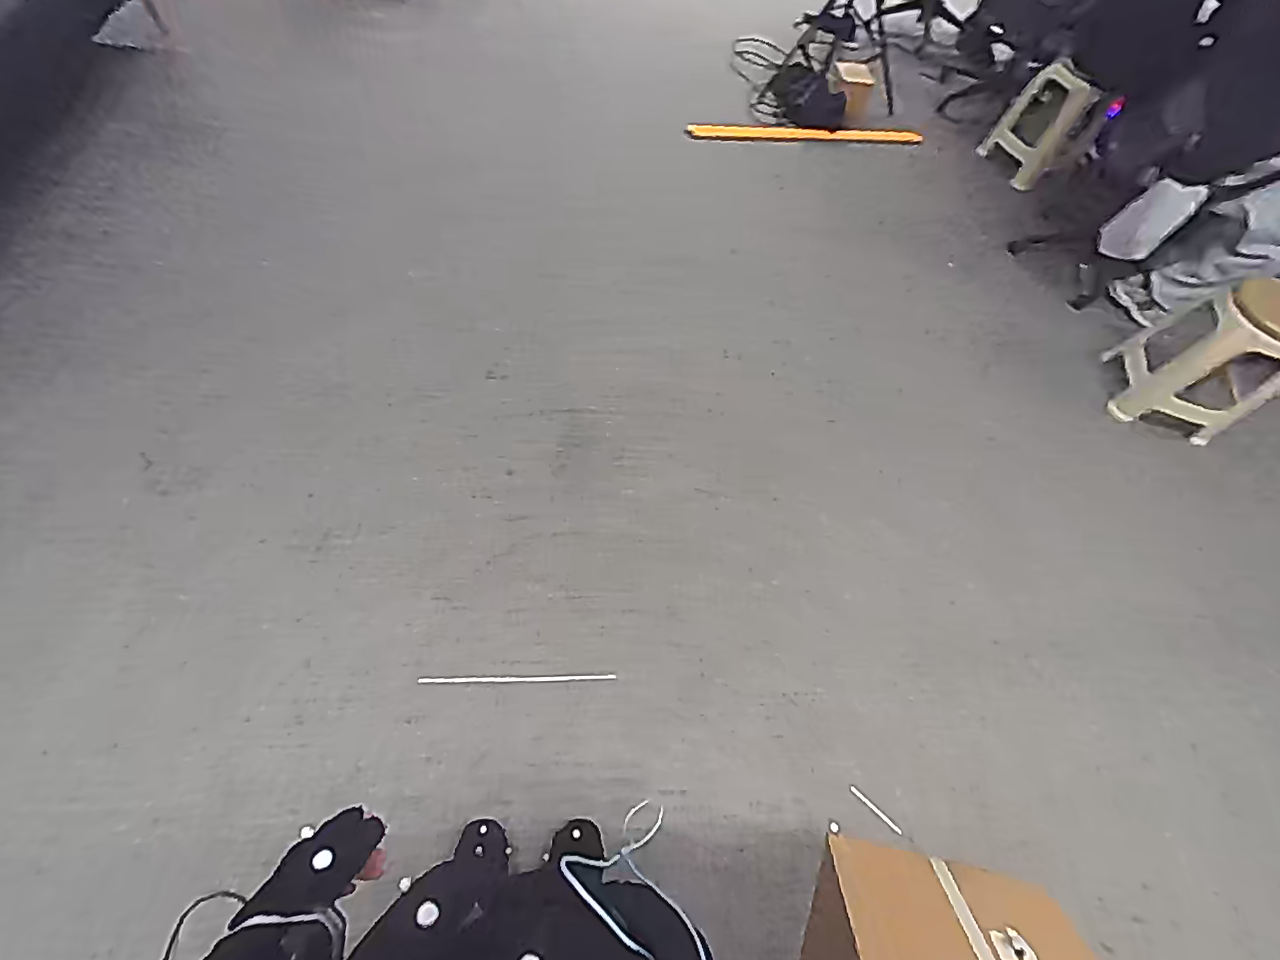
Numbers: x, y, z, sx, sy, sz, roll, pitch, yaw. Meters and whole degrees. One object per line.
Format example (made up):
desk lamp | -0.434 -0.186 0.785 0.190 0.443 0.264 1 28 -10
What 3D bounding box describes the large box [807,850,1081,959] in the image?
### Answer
large box | 0.386 0.752 0.625 0.320 0.408 0.320 11 96 7
